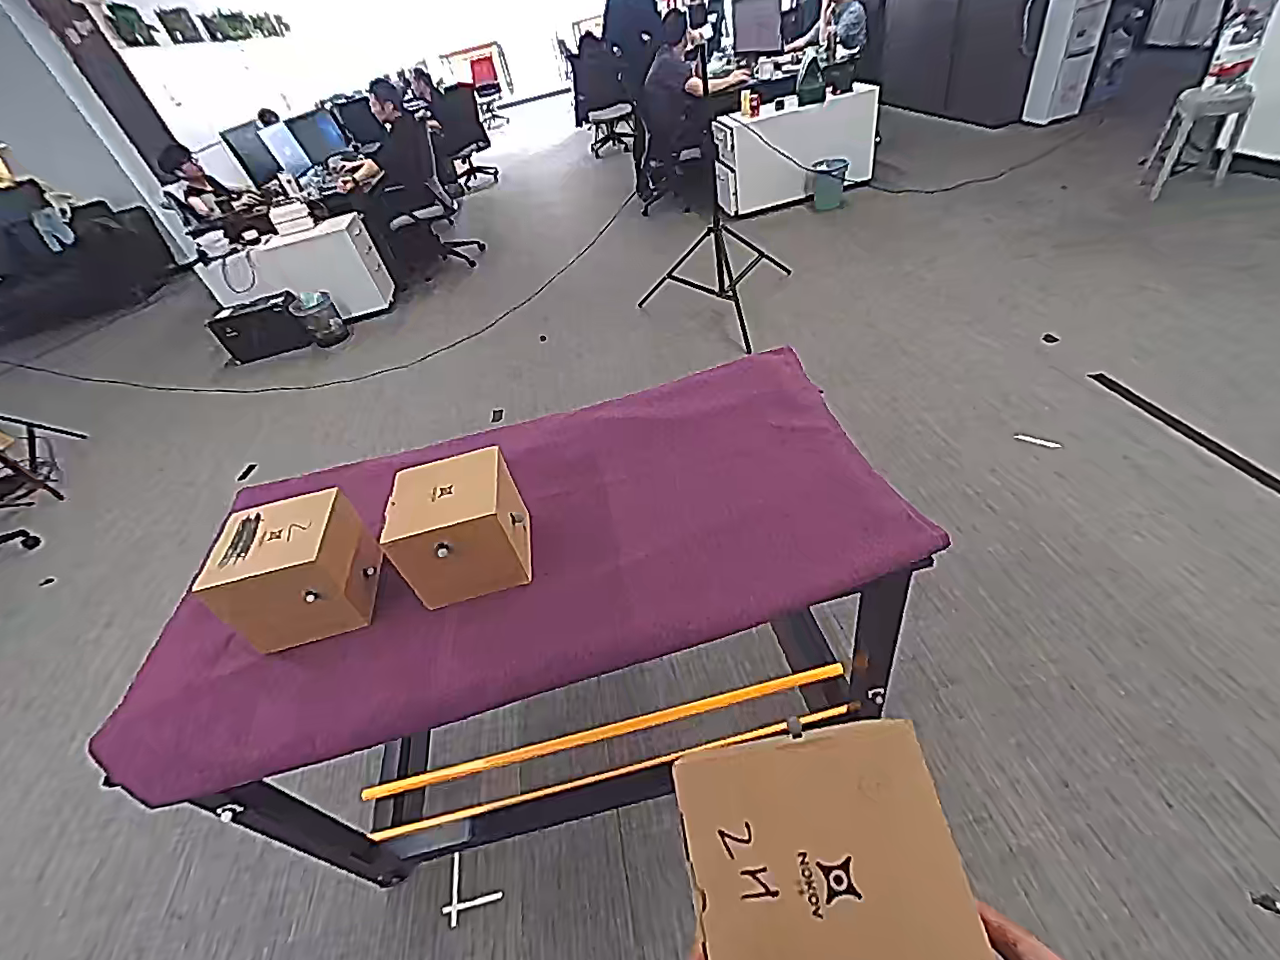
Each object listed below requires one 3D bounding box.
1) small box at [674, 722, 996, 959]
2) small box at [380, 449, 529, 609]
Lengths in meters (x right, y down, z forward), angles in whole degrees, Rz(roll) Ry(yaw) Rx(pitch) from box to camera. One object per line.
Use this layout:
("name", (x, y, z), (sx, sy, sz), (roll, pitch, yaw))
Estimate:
("small box", (0.132, 0.290, 0.423), (0.179, 0.176, 0.168), (-13, 64, 5))
("small box", (-0.286, 0.081, 0.880), (0.179, 0.176, 0.168), (-16, 41, 0))
